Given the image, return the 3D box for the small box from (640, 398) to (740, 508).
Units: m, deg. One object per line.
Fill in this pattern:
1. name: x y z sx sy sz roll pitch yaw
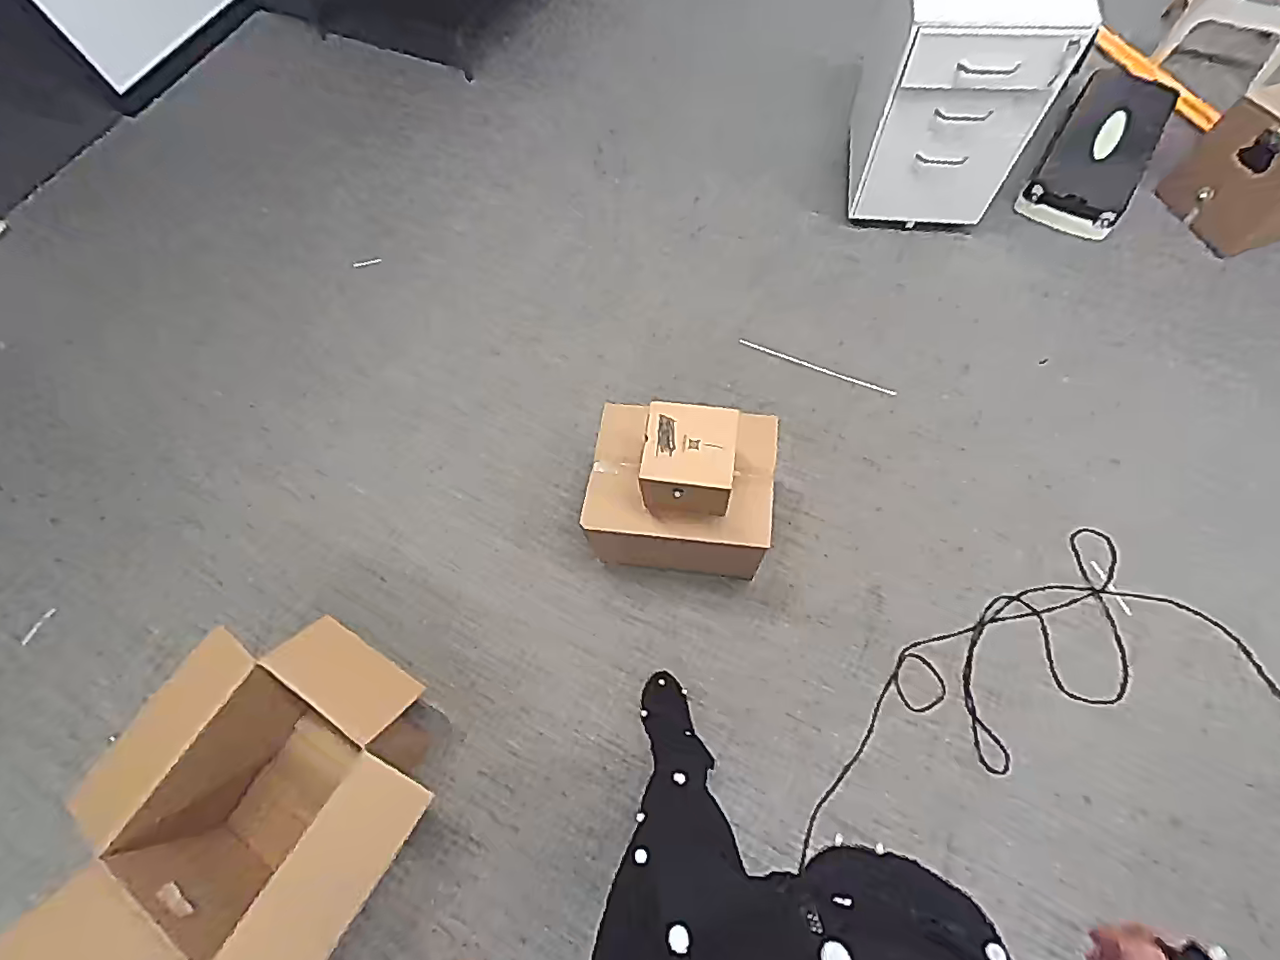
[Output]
1. small box: 0.105 -0.050 1.106 0.179 0.176 0.168 6 70 8
